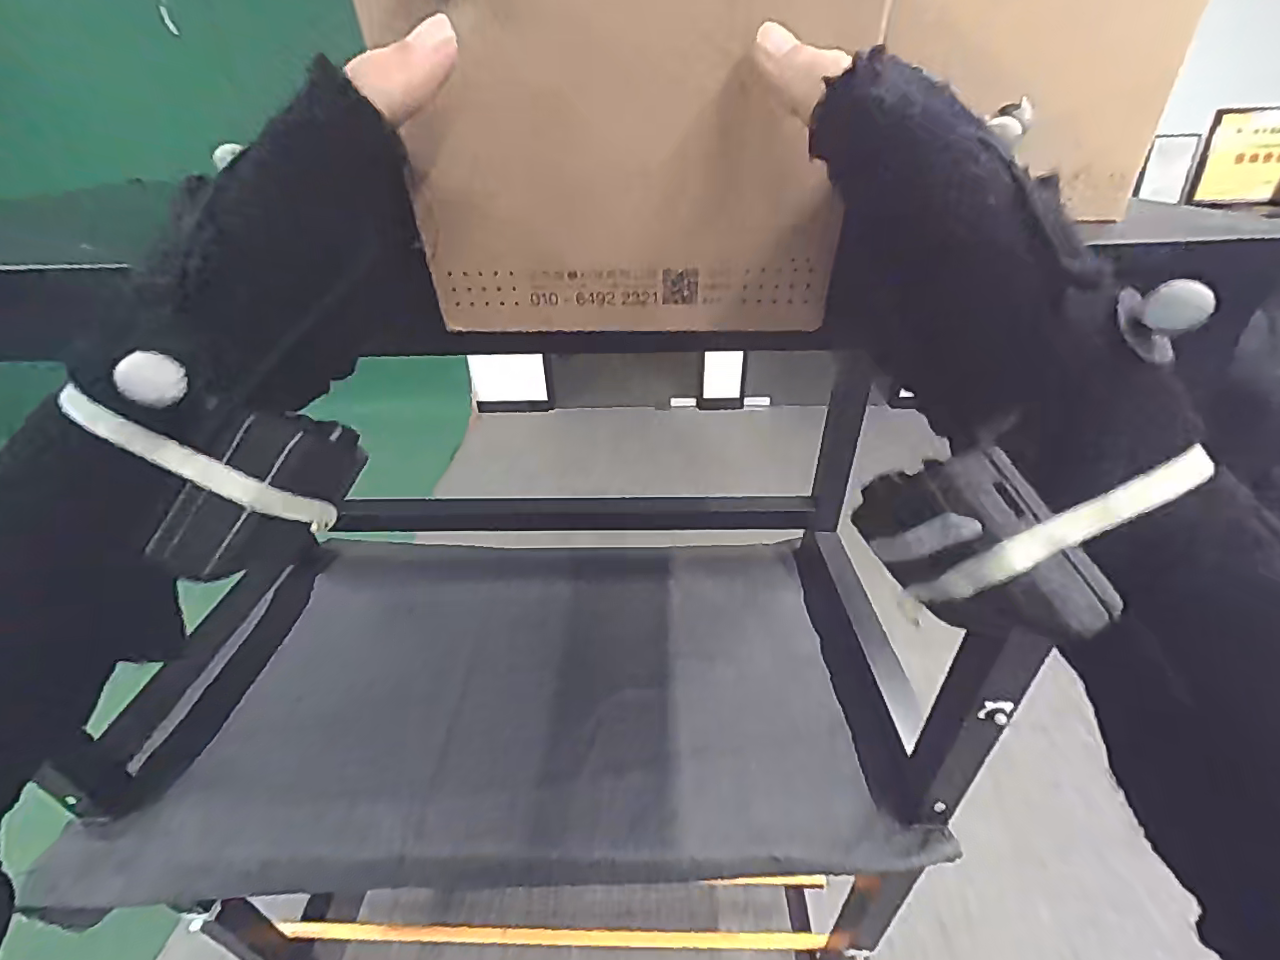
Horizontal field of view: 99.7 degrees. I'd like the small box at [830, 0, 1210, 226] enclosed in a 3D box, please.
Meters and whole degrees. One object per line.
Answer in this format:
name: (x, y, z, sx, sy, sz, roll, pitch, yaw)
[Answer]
small box: (0.241, -0.287, 0.387, 0.168, 0.176, 0.179, 3, 34, 9)
